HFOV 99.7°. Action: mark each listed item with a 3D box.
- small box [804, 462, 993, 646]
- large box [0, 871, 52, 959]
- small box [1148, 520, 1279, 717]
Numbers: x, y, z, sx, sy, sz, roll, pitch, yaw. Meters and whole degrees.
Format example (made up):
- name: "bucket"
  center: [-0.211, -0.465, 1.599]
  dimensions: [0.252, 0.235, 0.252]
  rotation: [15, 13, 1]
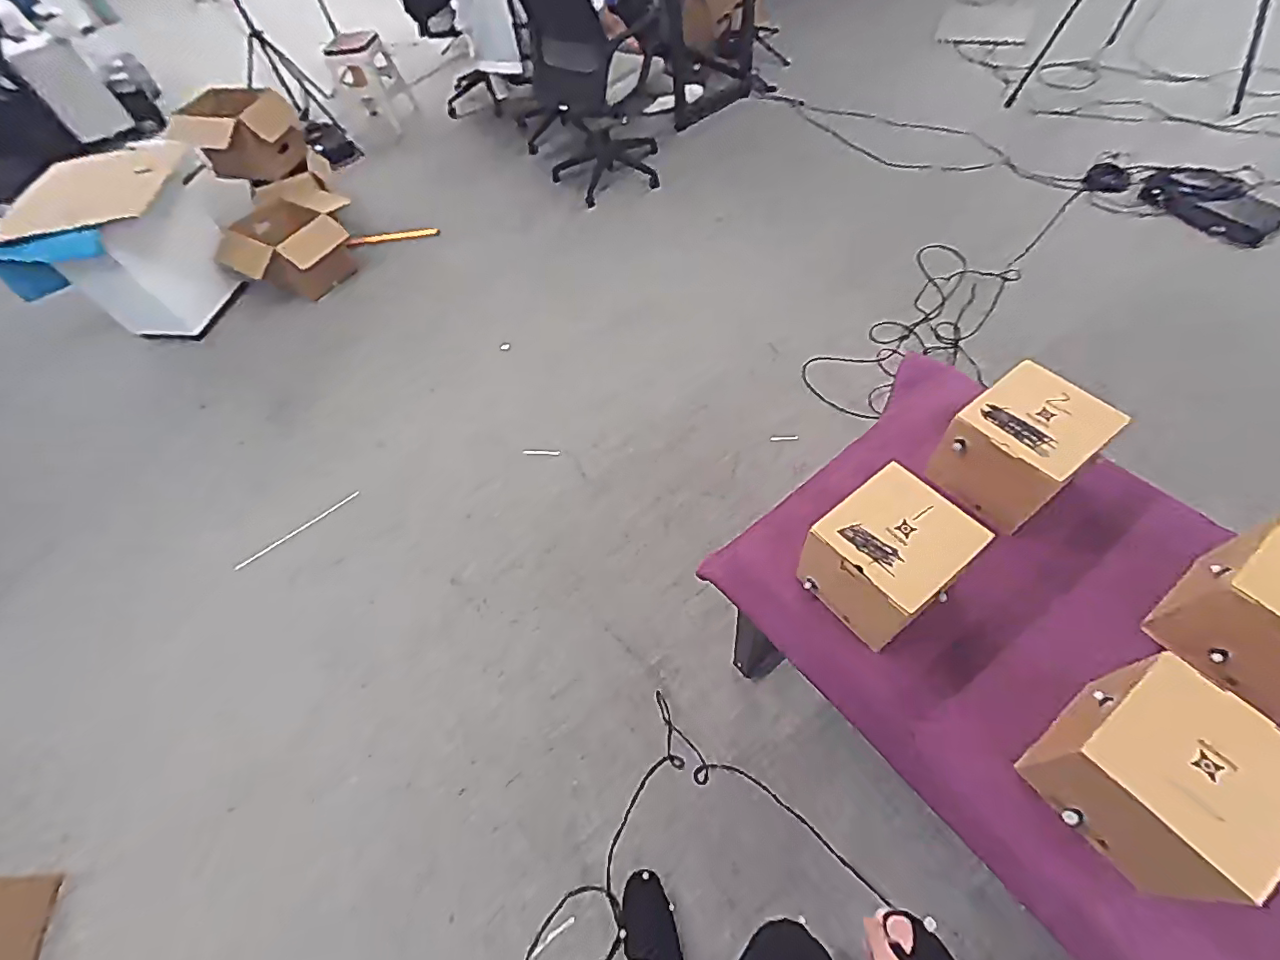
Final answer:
- name: "small box"
  center: [0.363, 0.114, 0.798]
  dimensions: [0.179, 0.176, 0.168]
  rotation: [-34, 60, -16]
- name: "large box"
  center: [-1.649, 1.146, 1.183]
  dimensions: [0.320, 0.320, 0.408]
  rotation: [-15, 57, -2]
- name: "small box"
  center: [0.831, 0.174, 0.700]
  dimensions: [0.179, 0.176, 0.168]
  rotation: [-36, 60, -14]
